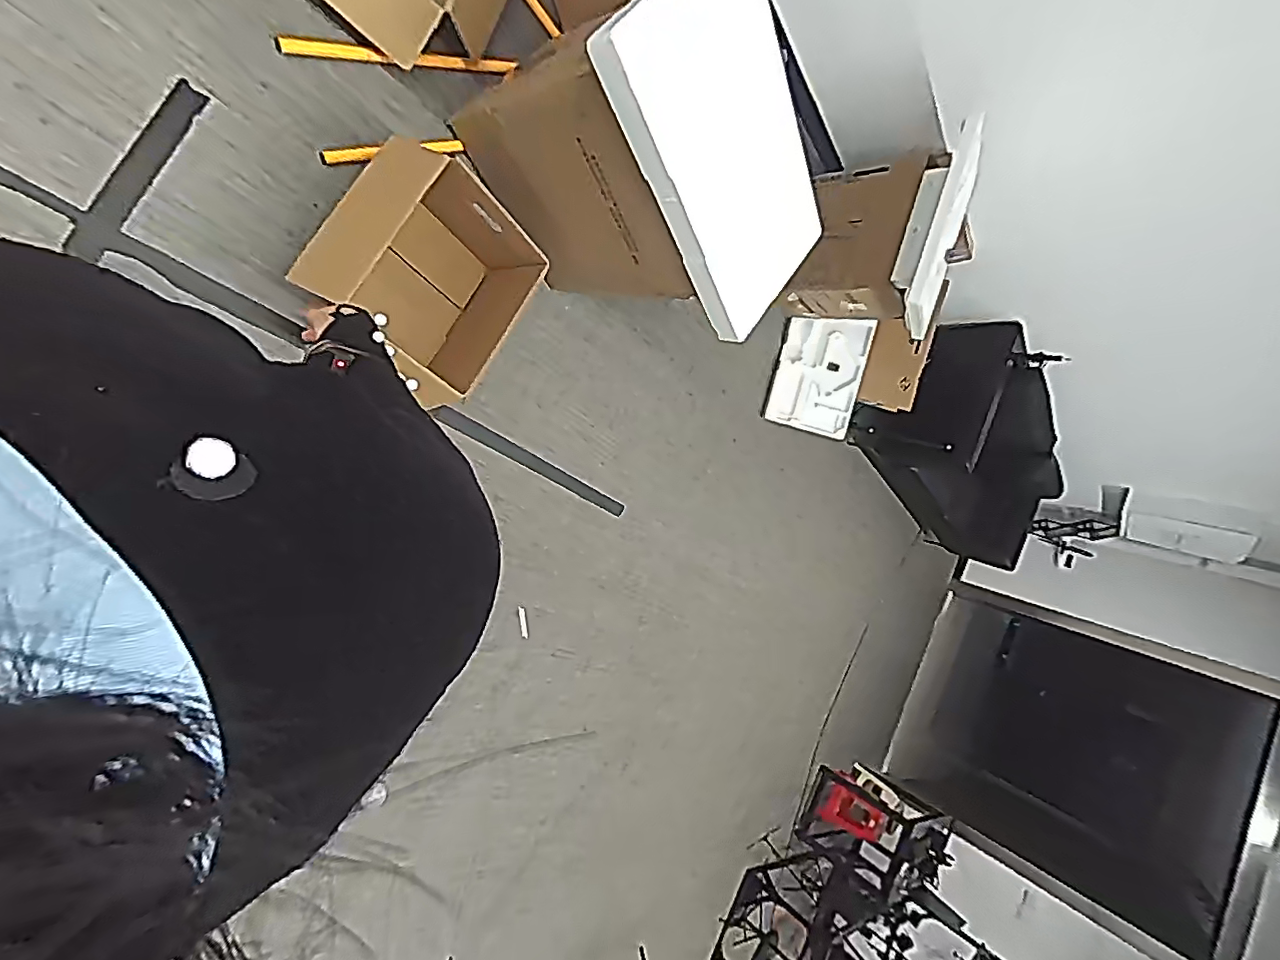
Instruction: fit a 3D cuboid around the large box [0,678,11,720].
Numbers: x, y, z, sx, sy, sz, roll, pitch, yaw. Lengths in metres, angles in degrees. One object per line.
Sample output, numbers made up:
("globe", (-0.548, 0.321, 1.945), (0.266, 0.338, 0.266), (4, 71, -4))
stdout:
("large box", (-1.183, 0.435, 0.688), (0.408, 0.320, 0.320), (36, 76, -44))
